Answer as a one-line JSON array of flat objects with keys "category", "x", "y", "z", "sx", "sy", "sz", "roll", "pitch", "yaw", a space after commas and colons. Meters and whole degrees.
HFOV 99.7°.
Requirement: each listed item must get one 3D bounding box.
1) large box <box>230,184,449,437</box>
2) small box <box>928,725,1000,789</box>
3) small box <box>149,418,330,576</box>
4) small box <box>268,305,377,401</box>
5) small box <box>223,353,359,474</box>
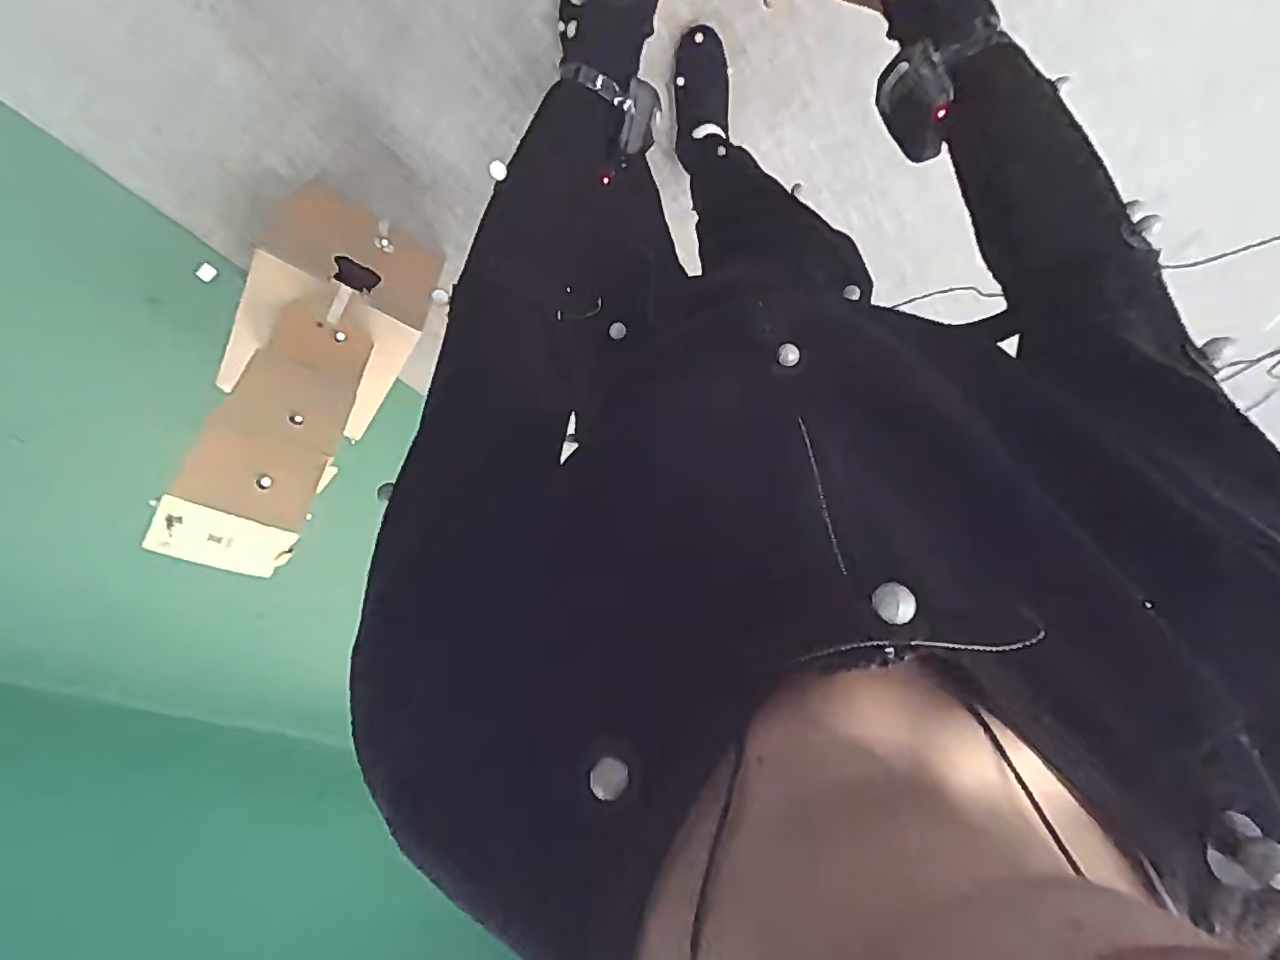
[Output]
[{"category": "large box", "x": -0.695, "y": -0.383, "z": 1.275, "sx": 0.320, "sy": 0.320, "sz": 0.408, "roll": 26, "pitch": 132, "yaw": -30}, {"category": "small box", "x": 1.201, "y": 1.028, "z": 2.014, "sx": 0.168, "sy": 0.176, "sz": 0.179, "roll": -27, "pitch": 133, "yaw": 24}, {"category": "small box", "x": -0.638, "y": 0.028, "z": 0.879, "sx": 0.179, "sy": 0.176, "sz": 0.168, "roll": 27, "pitch": 129, "yaw": -35}, {"category": "small box", "x": -0.662, "y": -0.214, "z": 1.100, "sx": 0.168, "sy": 0.176, "sz": 0.179, "roll": 27, "pitch": 129, "yaw": -34}, {"category": "small box", "x": -0.646, "y": -0.097, "z": 0.986, "sx": 0.179, "sy": 0.176, "sz": 0.168, "roll": 30, "pitch": 128, "yaw": -34}]
